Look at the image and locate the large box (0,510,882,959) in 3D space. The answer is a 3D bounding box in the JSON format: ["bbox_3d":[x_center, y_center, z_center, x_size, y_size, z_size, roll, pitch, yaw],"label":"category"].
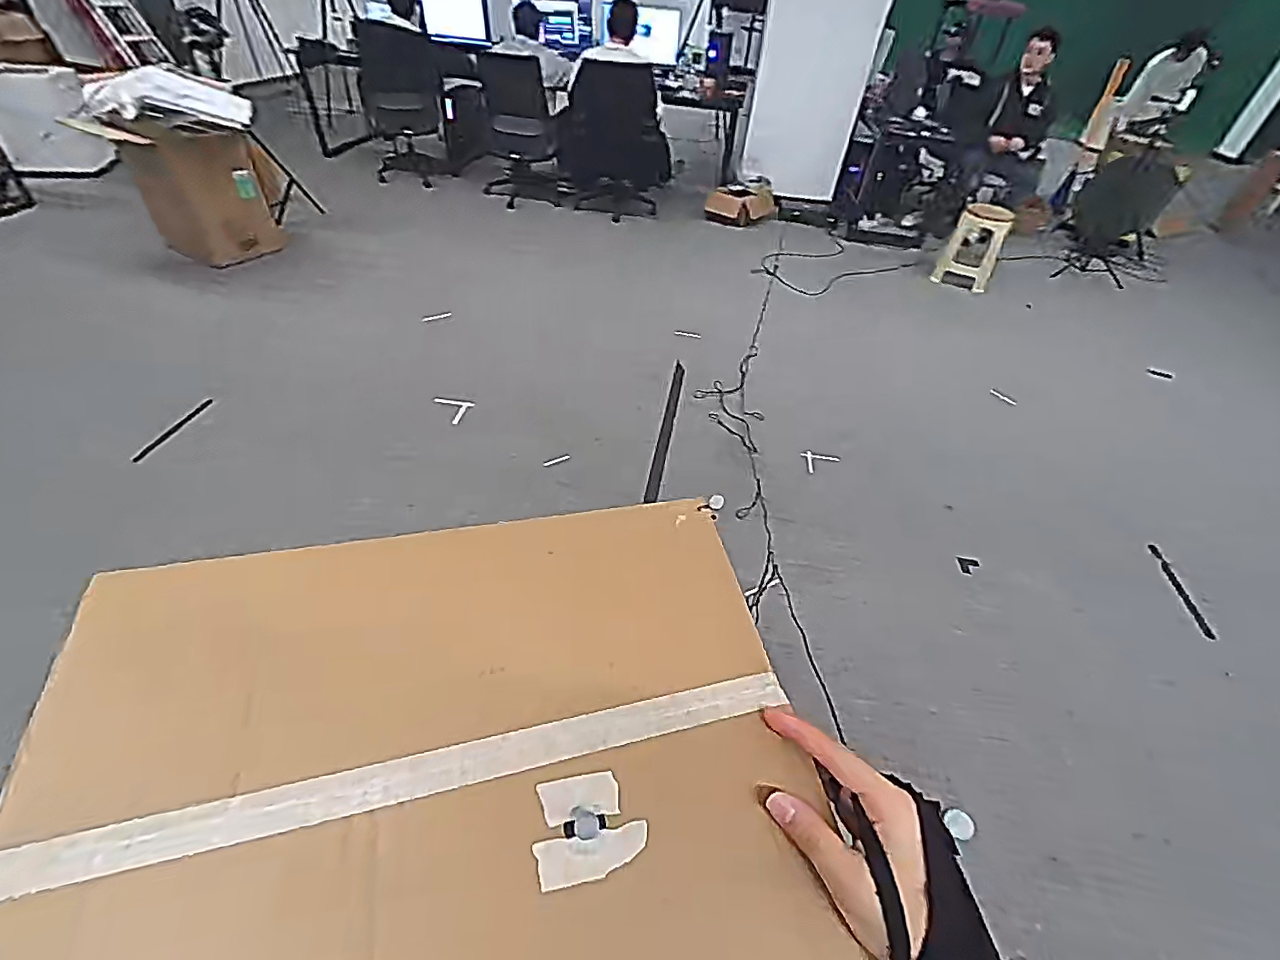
[{"bbox_3d":[-0.121,0.257,0.421,0.408,0.320,0.320,-6,54,-16],"label":"large box"}]
